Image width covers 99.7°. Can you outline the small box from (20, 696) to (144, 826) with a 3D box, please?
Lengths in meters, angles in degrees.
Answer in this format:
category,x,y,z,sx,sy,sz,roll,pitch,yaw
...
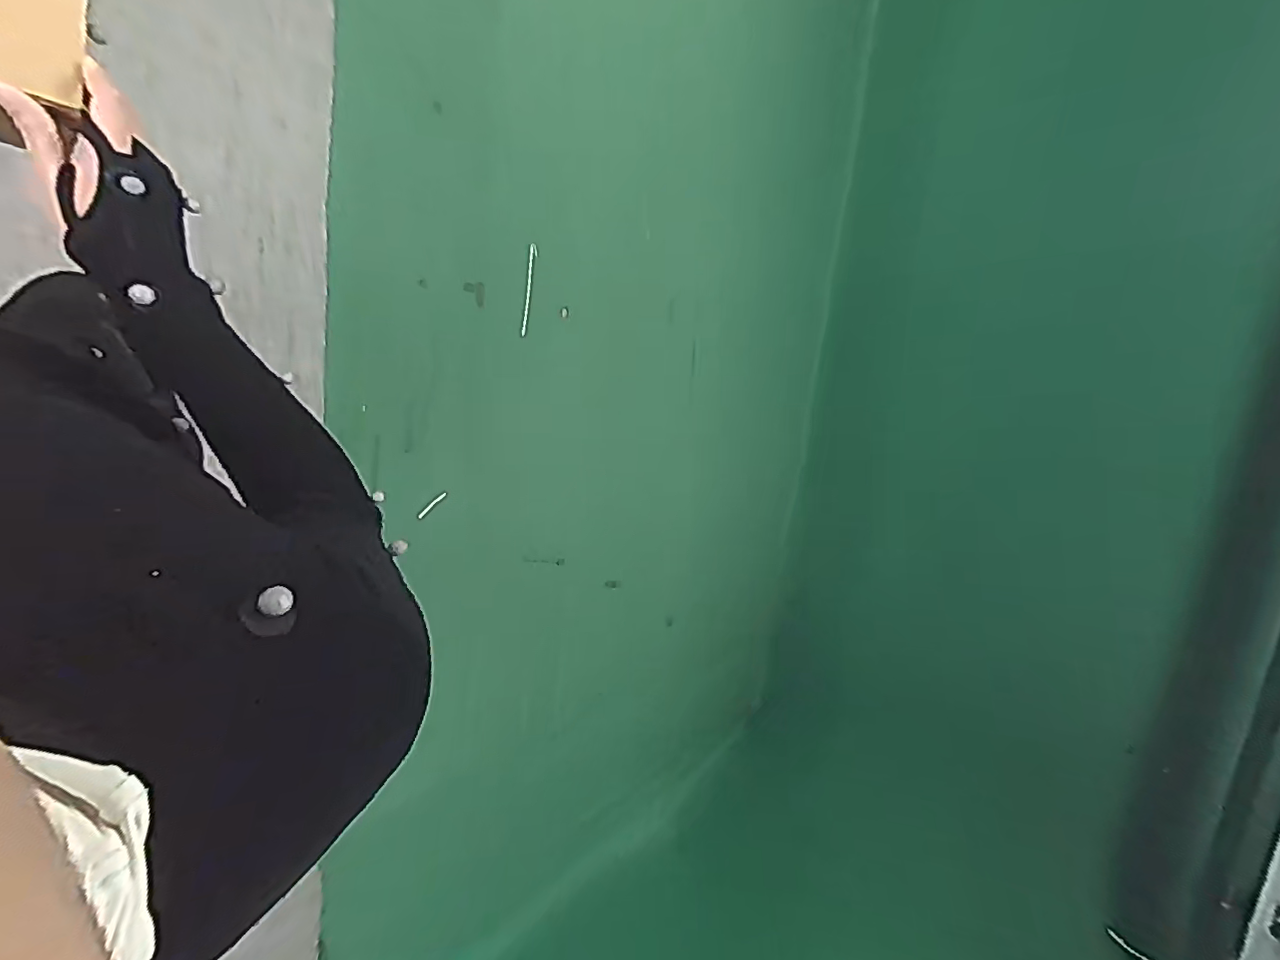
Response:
category,x,y,z,sx,sy,sz,roll,pitch,yaw
small box,-1.236,0.606,1.197,0.179,0.176,0.168,1,100,-50

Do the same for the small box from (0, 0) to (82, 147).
category,x,y,z,sx,sy,sz,roll,pitch,yaw
small box,-0.491,-0.359,0.359,0.168,0.176,0.179,2,98,-49
